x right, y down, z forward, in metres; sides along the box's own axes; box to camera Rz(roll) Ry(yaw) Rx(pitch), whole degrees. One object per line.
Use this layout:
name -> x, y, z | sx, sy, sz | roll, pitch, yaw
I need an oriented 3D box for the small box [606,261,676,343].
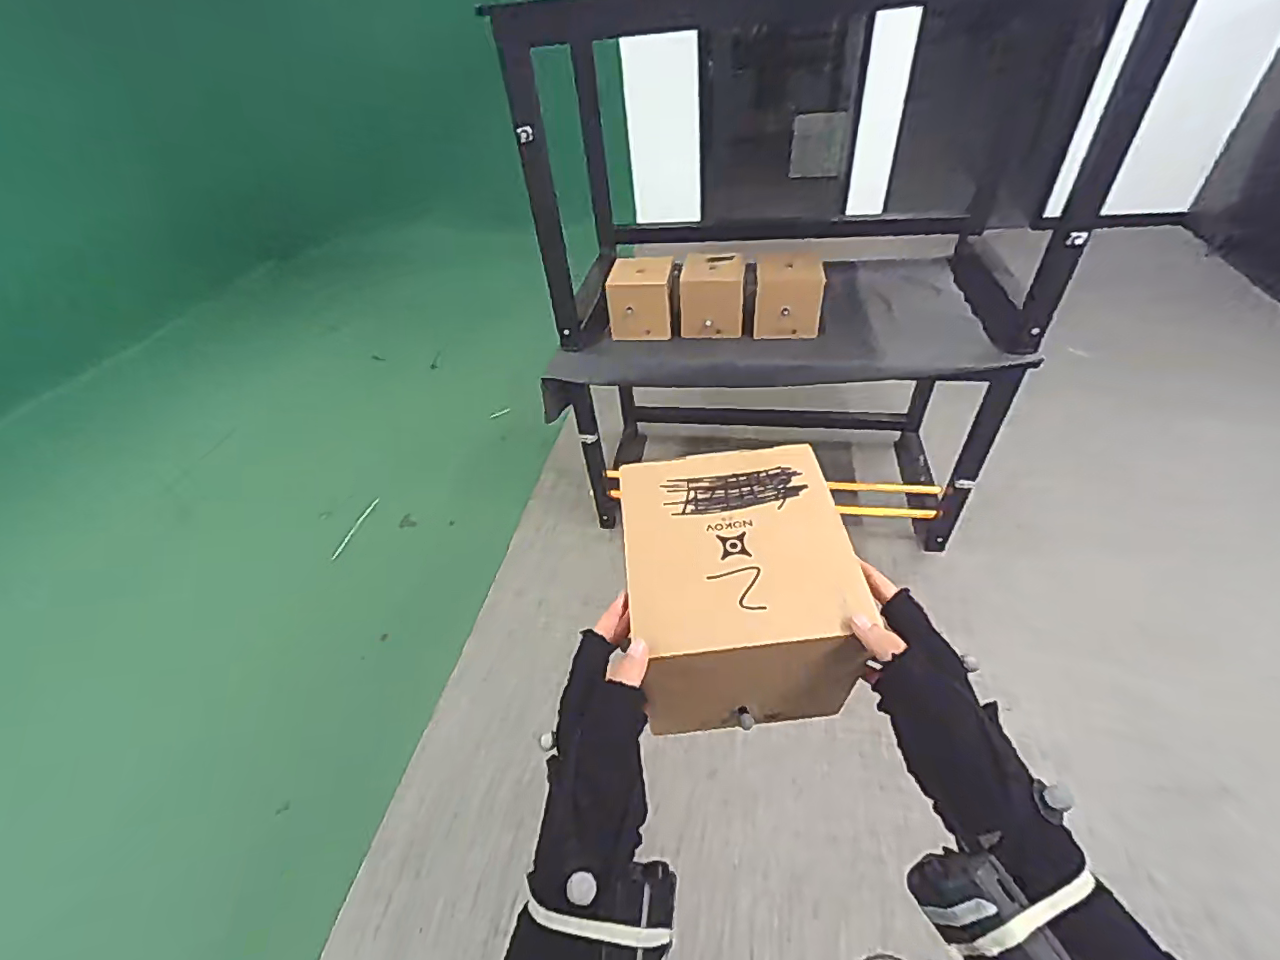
small box -> 0.010, -0.499, 1.523 | 0.168, 0.176, 0.179 | 2, 43, 10
